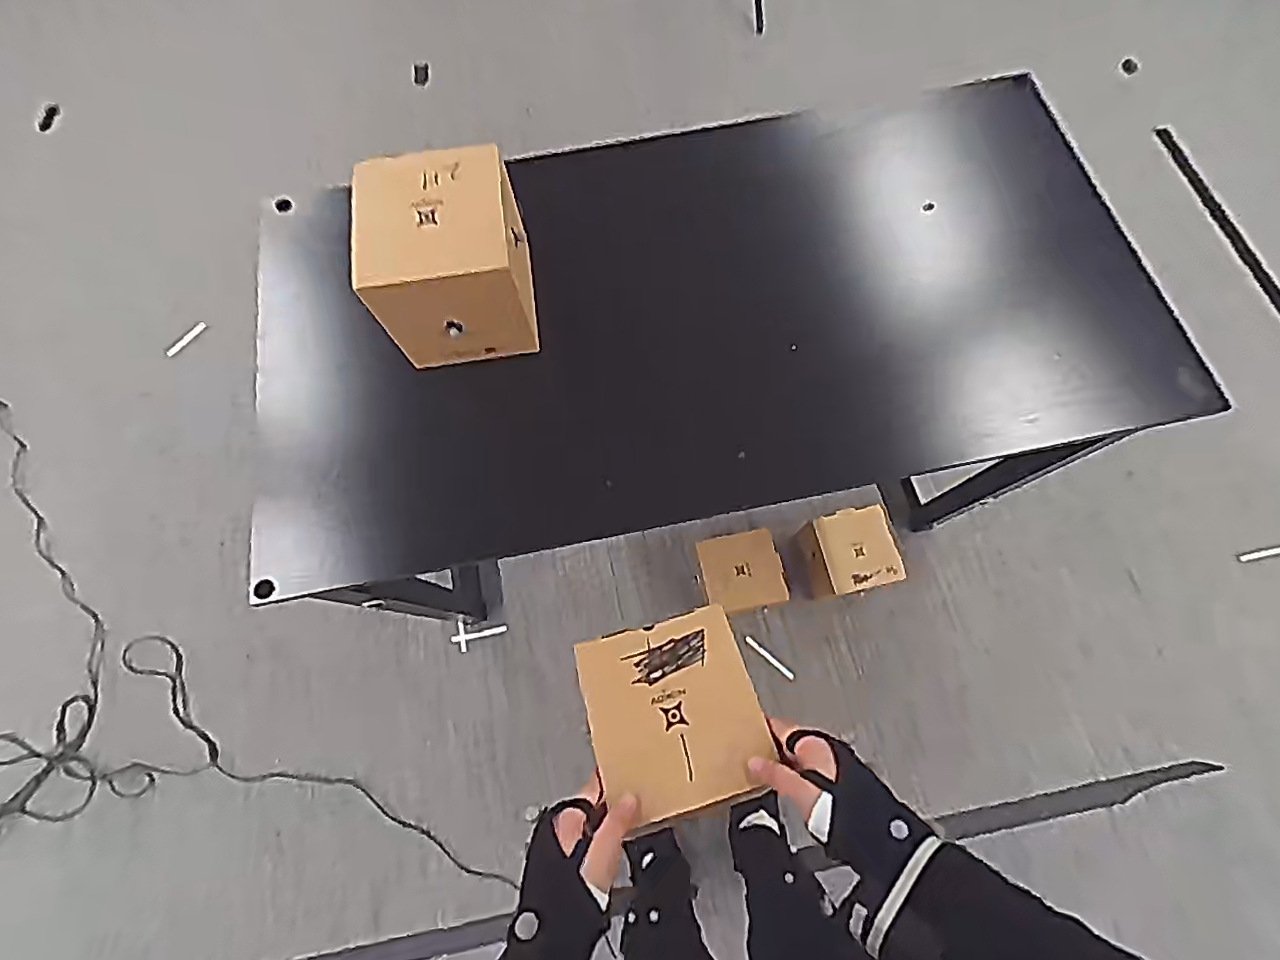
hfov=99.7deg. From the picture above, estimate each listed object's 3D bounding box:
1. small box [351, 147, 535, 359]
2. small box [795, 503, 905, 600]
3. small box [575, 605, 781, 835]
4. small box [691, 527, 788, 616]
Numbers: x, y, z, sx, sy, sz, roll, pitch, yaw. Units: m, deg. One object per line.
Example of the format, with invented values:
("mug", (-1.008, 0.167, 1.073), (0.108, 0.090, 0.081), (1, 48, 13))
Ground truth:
("small box", (-0.231, -0.264, 0.667), (0.168, 0.176, 0.179), (-8, 72, -2))
("small box", (0.482, 0.173, 1.274), (0.168, 0.176, 0.179), (-12, 72, -2))
("small box", (0.032, 0.267, 0.597), (0.168, 0.176, 0.179), (-15, 56, -7))
("small box", (0.224, 0.222, 1.267), (0.179, 0.176, 0.168), (-12, 71, -2))
